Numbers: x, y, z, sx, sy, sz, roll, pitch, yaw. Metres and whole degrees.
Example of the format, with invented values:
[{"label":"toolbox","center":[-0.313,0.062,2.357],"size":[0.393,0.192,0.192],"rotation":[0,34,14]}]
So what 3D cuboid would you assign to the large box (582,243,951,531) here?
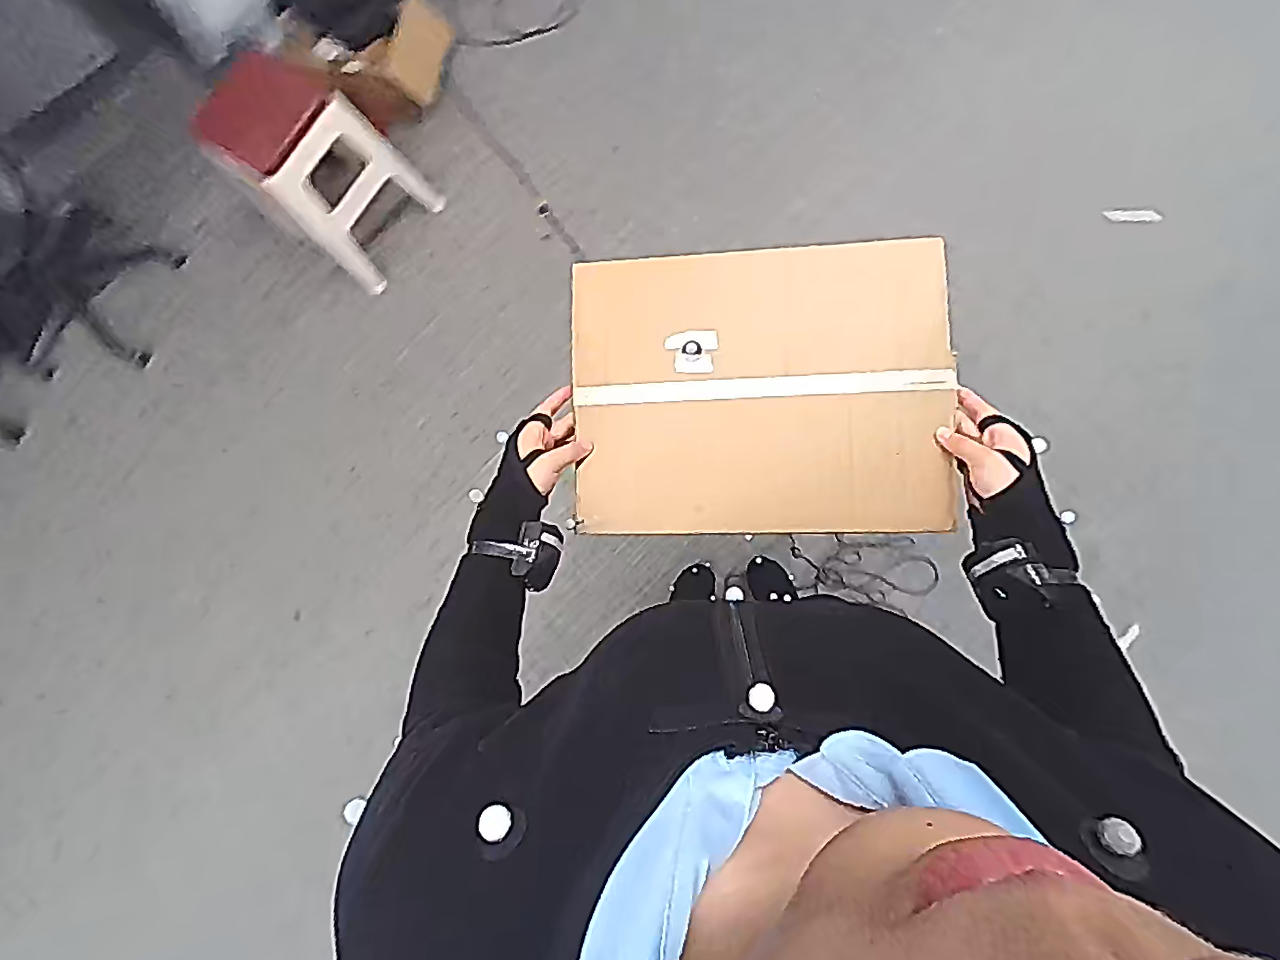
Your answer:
[{"label":"large box","center":[0.153,-0.095,0.750],"size":[0.408,0.320,0.320],"rotation":[-1,87,8]}]
